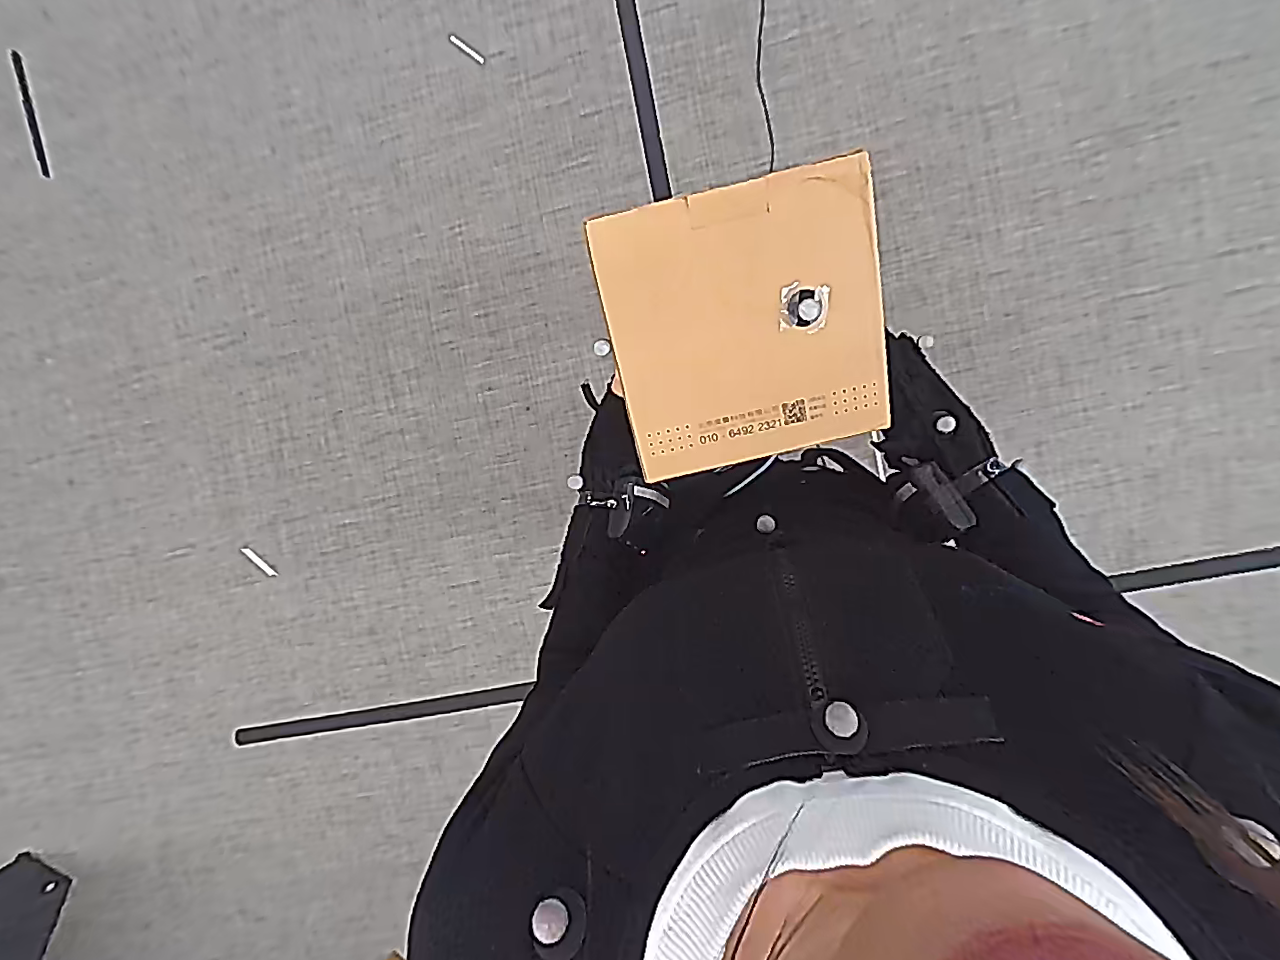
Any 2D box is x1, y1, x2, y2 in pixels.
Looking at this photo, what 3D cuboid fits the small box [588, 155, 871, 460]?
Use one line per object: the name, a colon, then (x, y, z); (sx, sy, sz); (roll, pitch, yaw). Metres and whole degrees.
small box: (0.066, -0.124, 0.425); (0.168, 0.179, 0.176); (-12, 110, 4)
